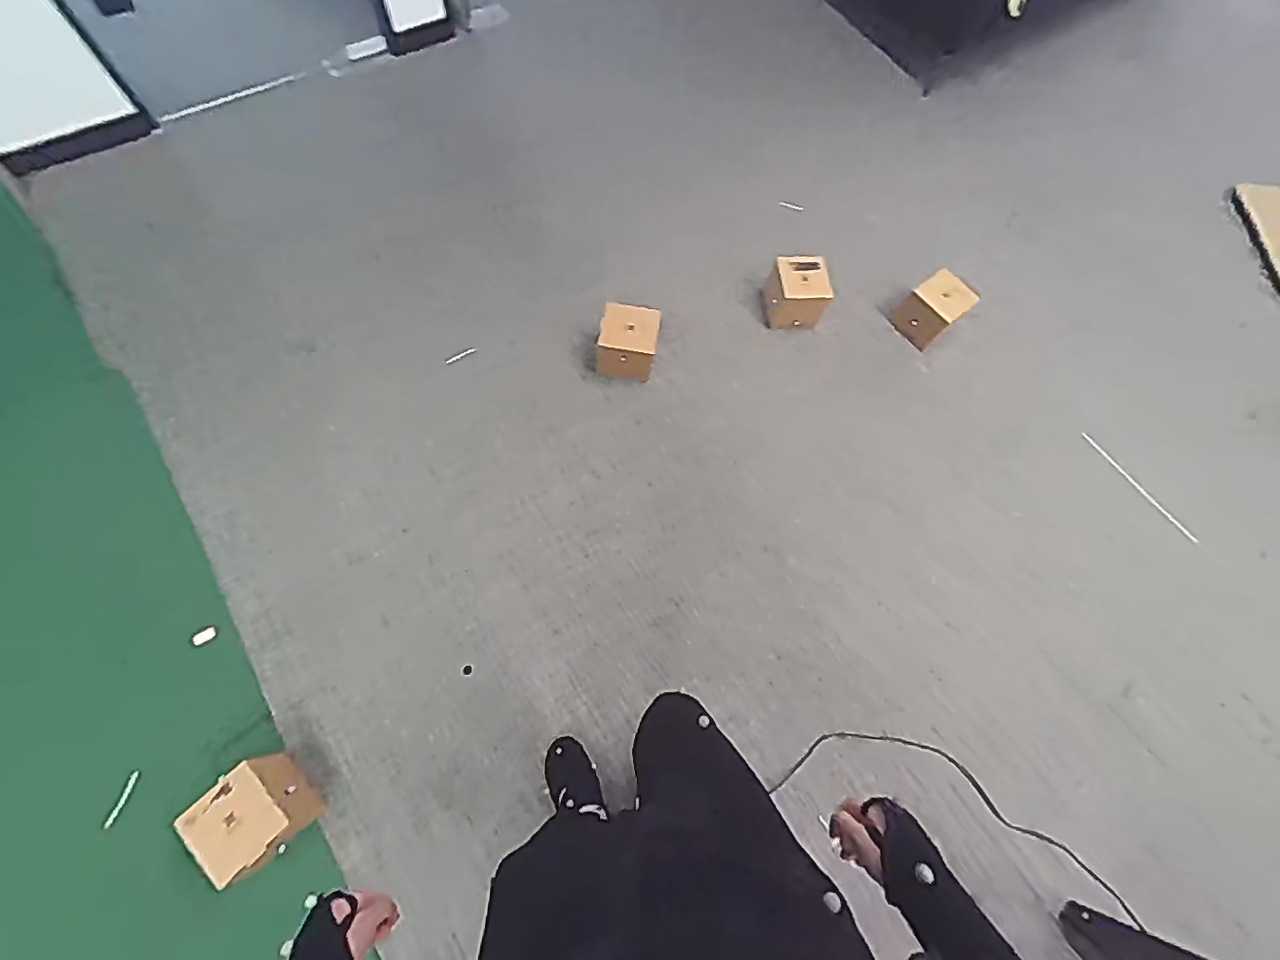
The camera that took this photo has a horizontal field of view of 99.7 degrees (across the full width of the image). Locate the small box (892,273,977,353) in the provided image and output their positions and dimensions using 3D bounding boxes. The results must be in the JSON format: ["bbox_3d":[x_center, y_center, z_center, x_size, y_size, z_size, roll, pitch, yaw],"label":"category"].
[{"bbox_3d":[1.021,-0.580,1.900,0.179,0.176,0.168,-35,76,-17],"label":"small box"}]

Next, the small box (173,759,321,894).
[{"bbox_3d":[-0.855,0.751,1.198,0.179,0.176,0.168,44,71,12],"label":"small box"}]
